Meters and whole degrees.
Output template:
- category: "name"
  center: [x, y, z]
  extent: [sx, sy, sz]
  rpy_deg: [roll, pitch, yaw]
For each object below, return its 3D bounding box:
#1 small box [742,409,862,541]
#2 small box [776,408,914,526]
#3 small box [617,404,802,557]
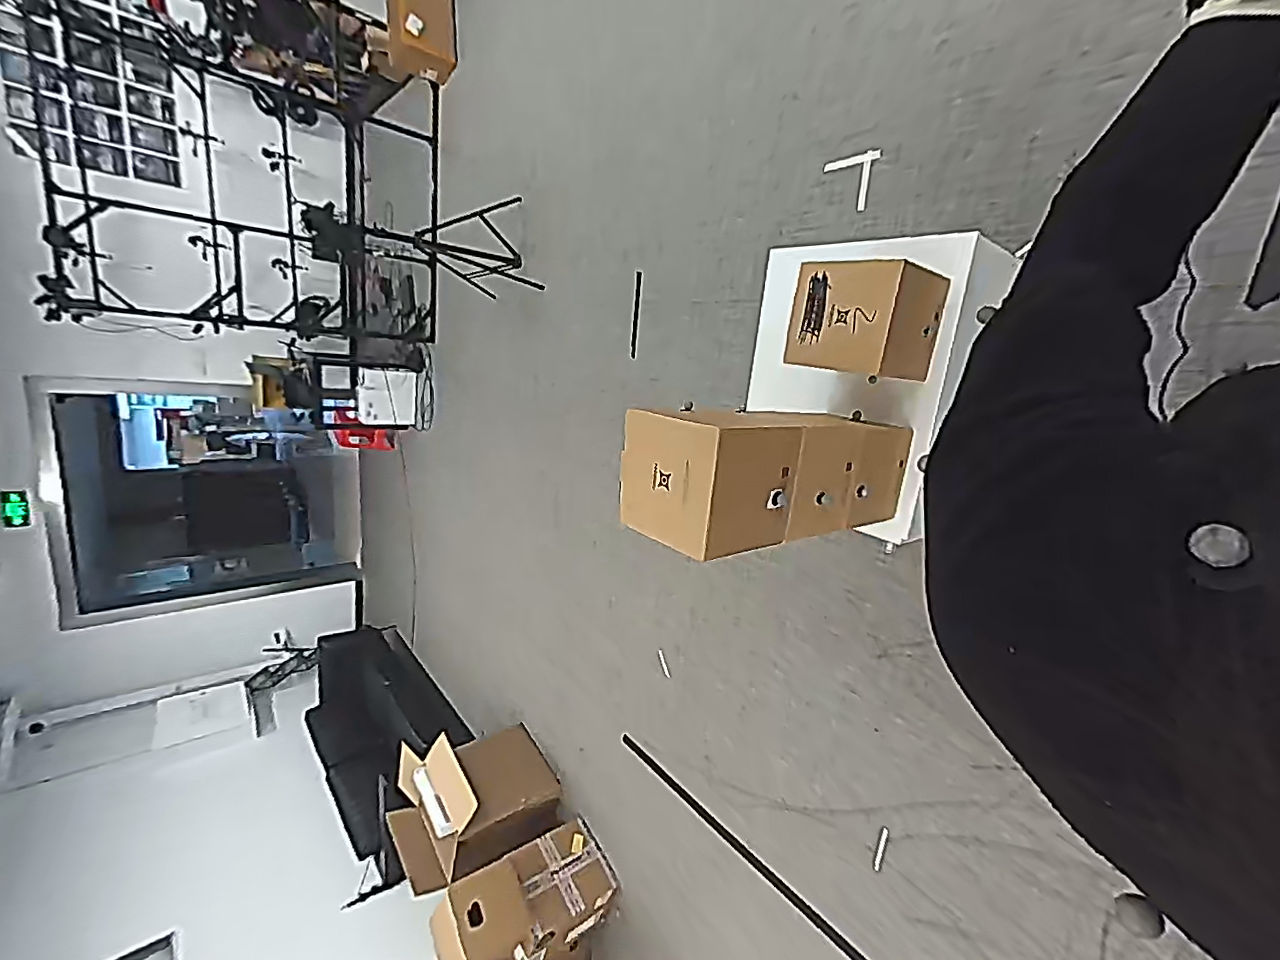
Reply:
- category: "small box"
  center: [0.217, -0.019, 0.840]
  extent: [0.179, 0.176, 0.168]
  rpy_deg: [20, 109, 48]
- category: "small box"
  center: [0.341, -0.030, 0.944]
  extent: [0.179, 0.176, 0.168]
  rpy_deg: [22, 112, 48]
- category: "small box"
  center: [0.091, -0.010, 0.738]
  extent: [0.179, 0.176, 0.168]
  rpy_deg: [19, 109, 47]
